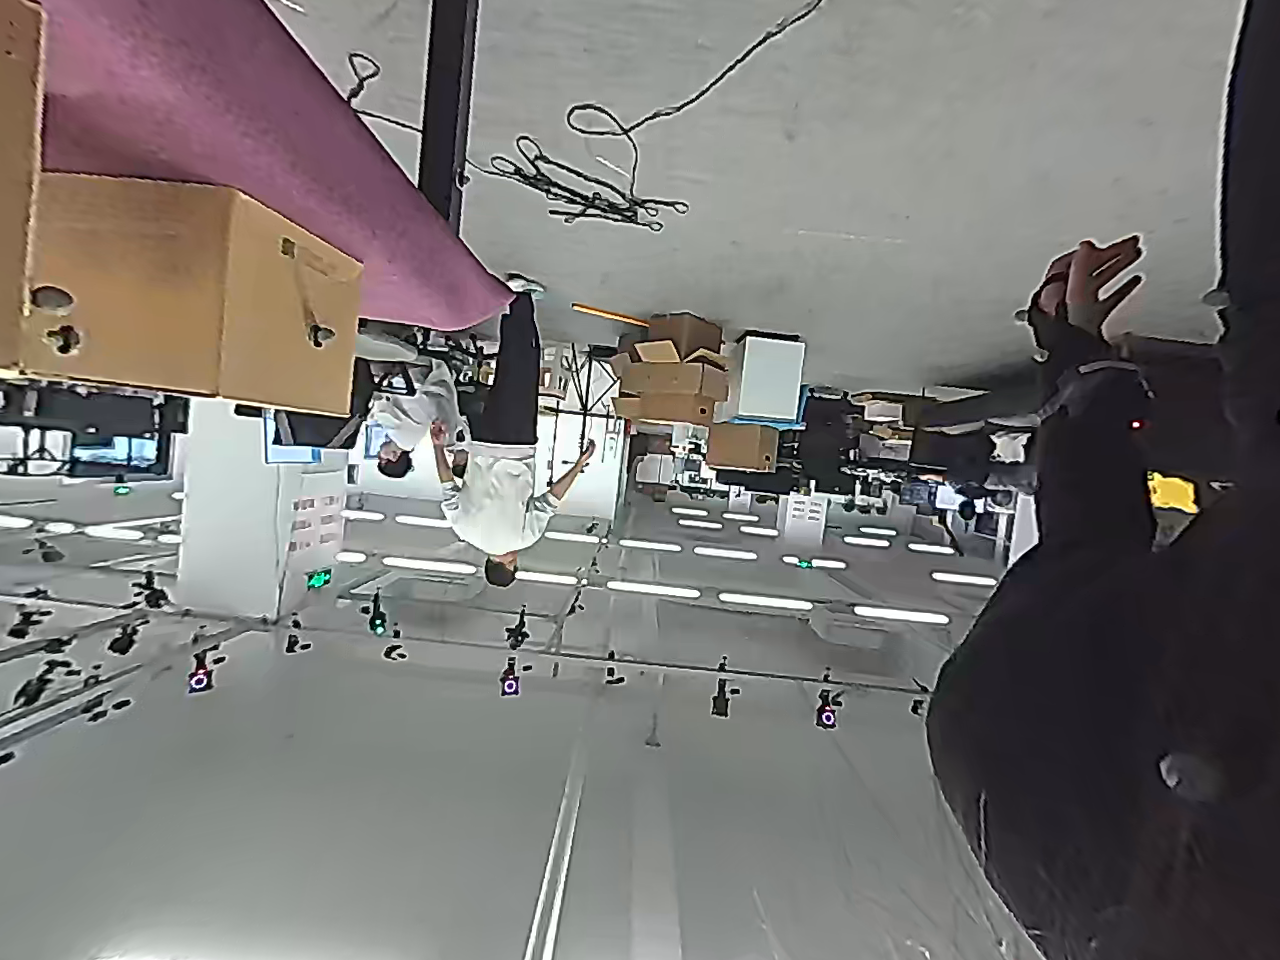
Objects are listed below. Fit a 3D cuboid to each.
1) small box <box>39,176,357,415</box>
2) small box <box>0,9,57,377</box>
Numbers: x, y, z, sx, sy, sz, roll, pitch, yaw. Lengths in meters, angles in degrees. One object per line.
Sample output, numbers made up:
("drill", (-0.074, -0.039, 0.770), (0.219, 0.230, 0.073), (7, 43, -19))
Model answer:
("small box", (-0.390, -0.158, 0.505), (0.179, 0.176, 0.168), (8, -178, 6))
("small box", (-0.386, -0.145, 0.236), (0.179, 0.176, 0.168), (8, -178, 39))
